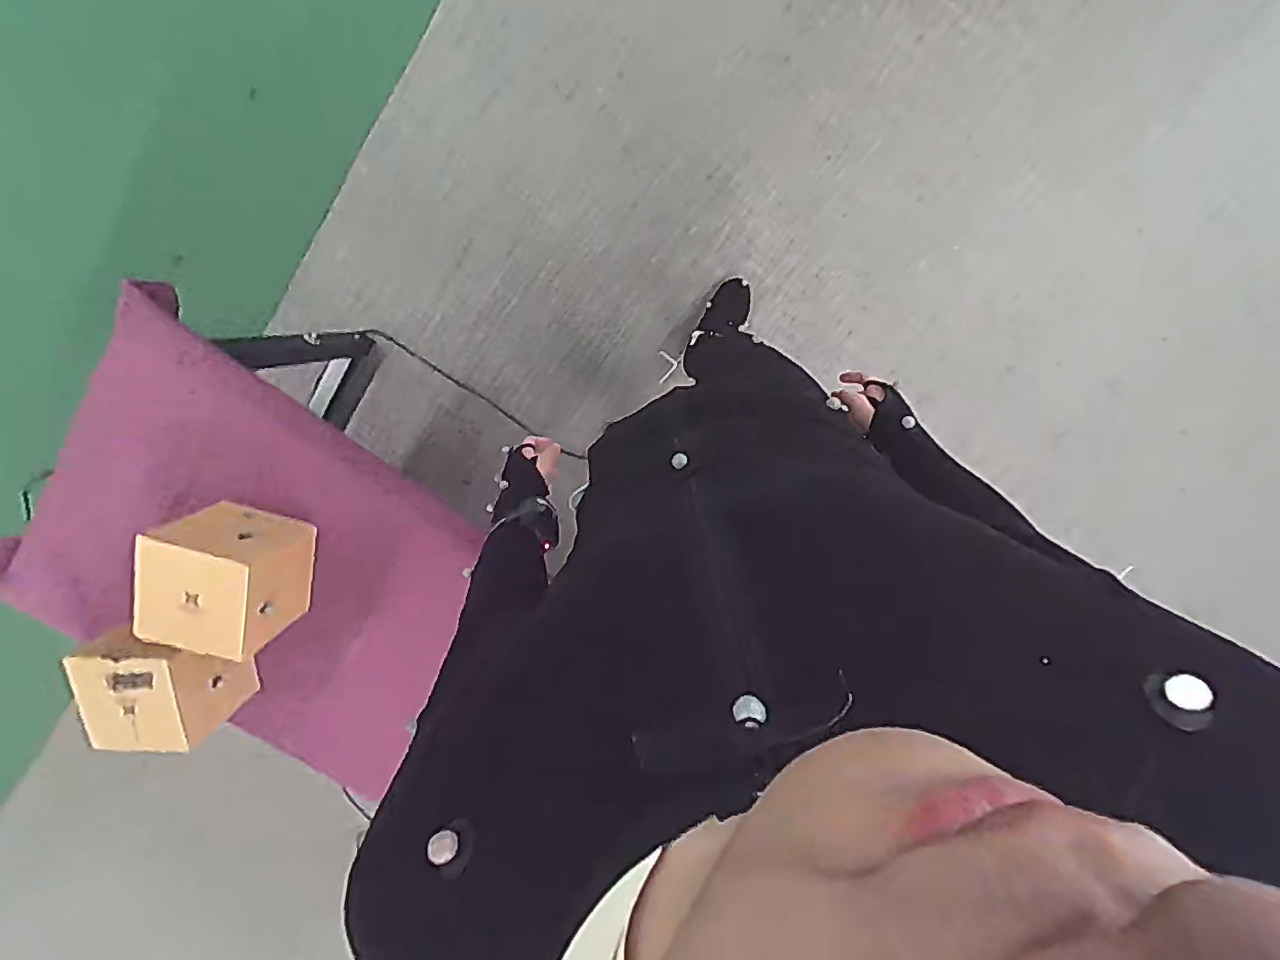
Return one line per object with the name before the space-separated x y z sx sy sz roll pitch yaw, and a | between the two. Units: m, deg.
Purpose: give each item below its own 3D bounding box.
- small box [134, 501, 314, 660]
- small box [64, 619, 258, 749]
small box | -0.658 0.152 0.873 0.168 0.176 0.179 16 108 -4
small box | -0.802 0.328 0.927 0.168 0.176 0.179 2 107 1
